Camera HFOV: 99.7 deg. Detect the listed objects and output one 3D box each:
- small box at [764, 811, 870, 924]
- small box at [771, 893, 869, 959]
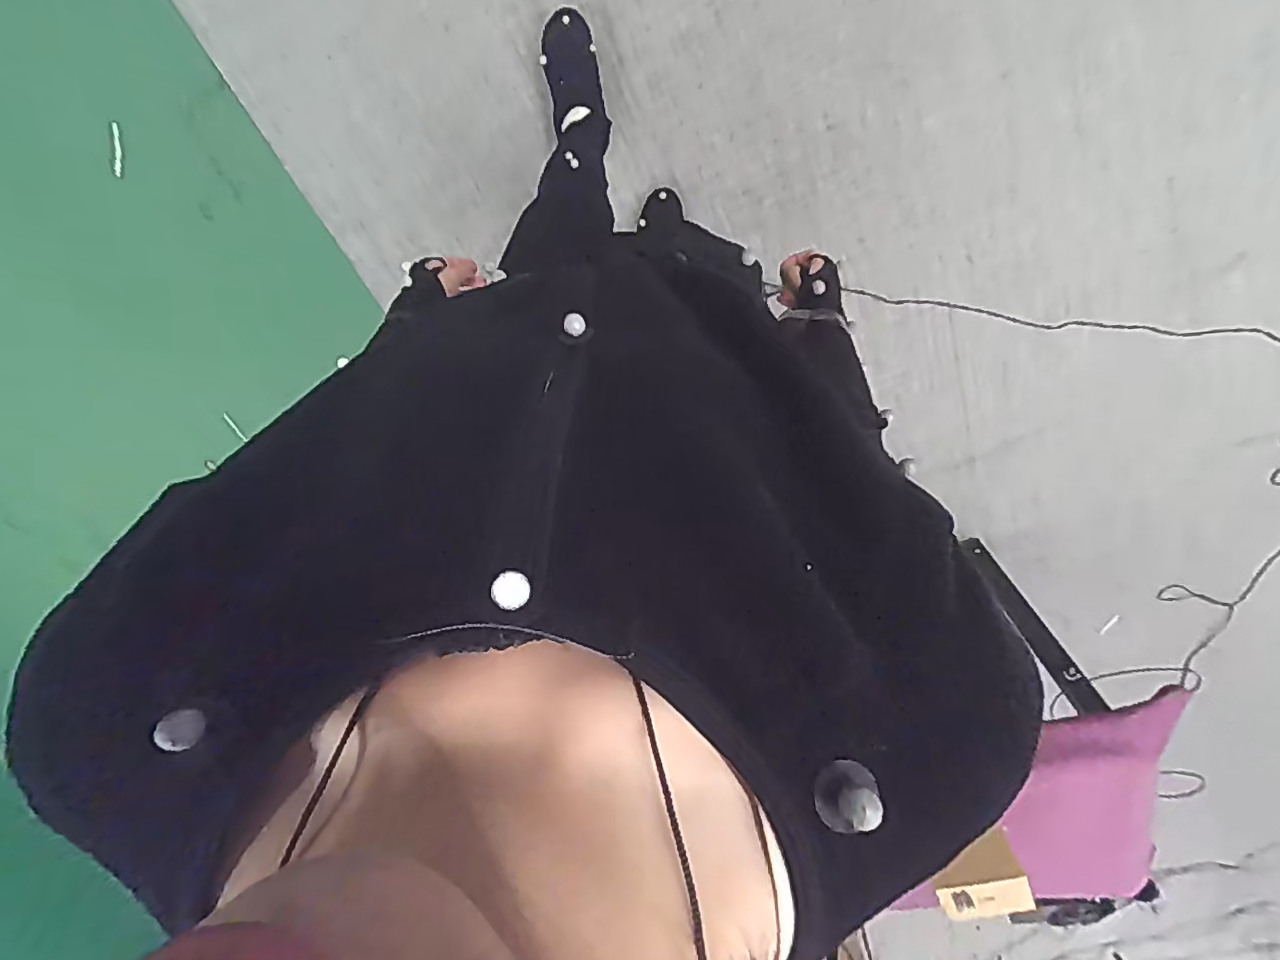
[{"bbox_3d":[0.403,0.902,1.250,0.168,0.176,0.179,-25,118,17],"label":"small box"},{"bbox_3d":[0.372,0.977,1.105,0.179,0.176,0.168,-12,121,10],"label":"small box"}]
